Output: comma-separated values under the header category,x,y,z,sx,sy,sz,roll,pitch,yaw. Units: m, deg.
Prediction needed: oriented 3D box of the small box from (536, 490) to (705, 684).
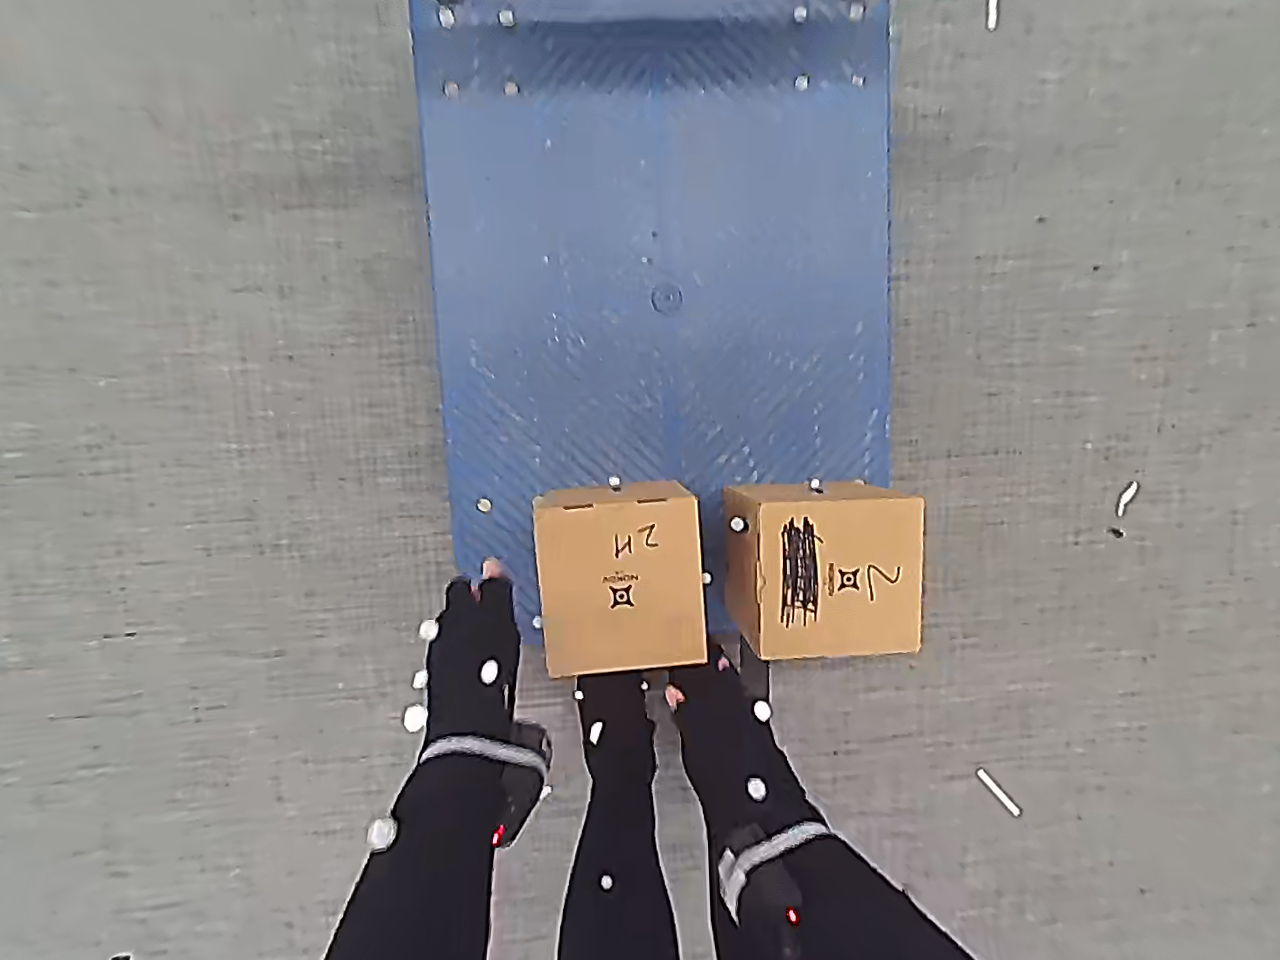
category,x,y,z,sx,sy,sz,roll,pitch,yaw
small box,-0.021,0.111,0.627,0.168,0.176,0.179,-4,95,-3
